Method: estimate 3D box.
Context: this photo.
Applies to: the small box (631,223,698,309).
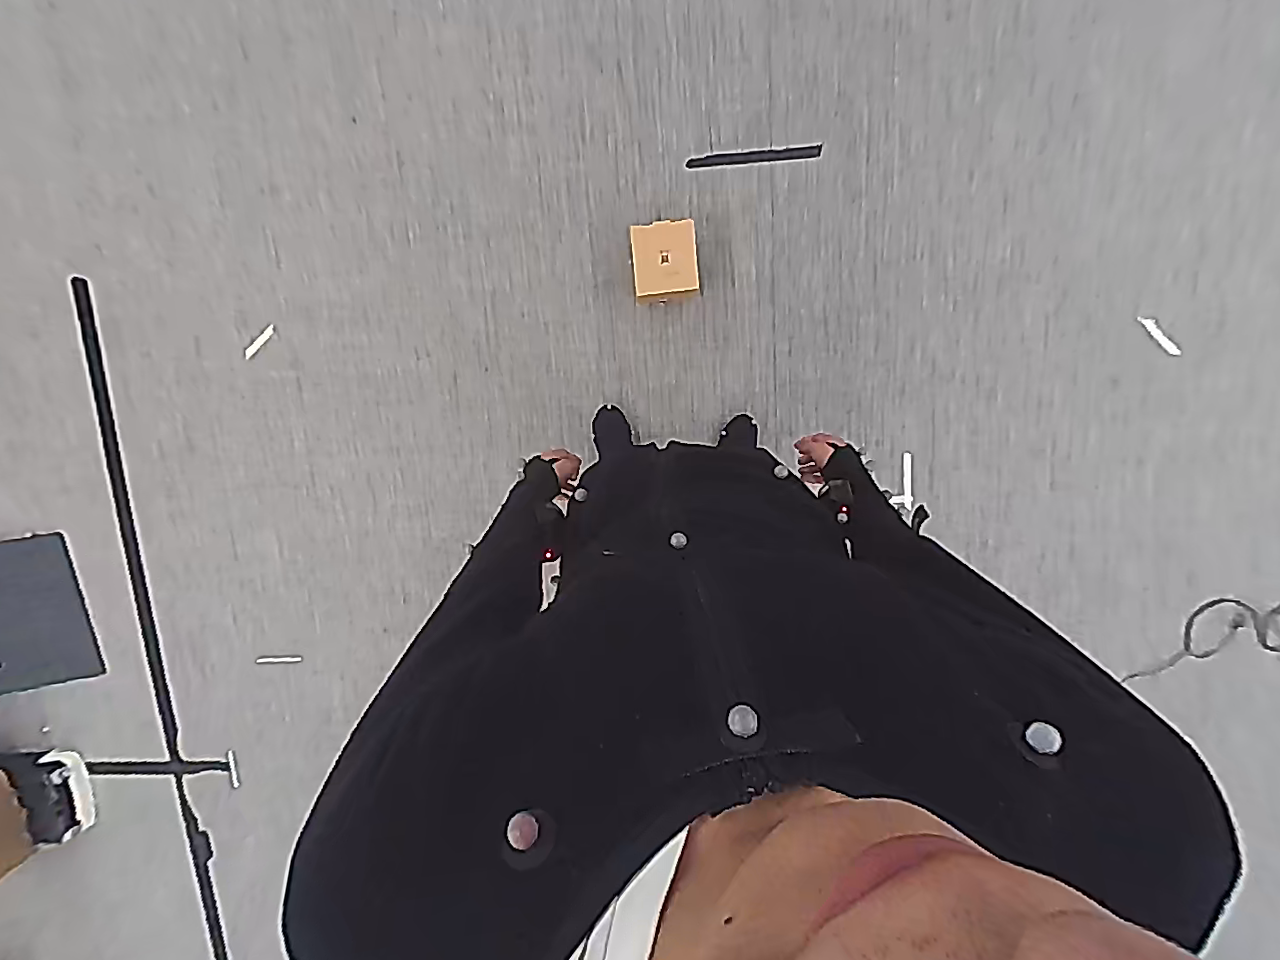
[{"bbox_3d":[0.066,-0.575,1.468,0.168,0.176,0.179,-5,99,3],"label":"small box"}]
